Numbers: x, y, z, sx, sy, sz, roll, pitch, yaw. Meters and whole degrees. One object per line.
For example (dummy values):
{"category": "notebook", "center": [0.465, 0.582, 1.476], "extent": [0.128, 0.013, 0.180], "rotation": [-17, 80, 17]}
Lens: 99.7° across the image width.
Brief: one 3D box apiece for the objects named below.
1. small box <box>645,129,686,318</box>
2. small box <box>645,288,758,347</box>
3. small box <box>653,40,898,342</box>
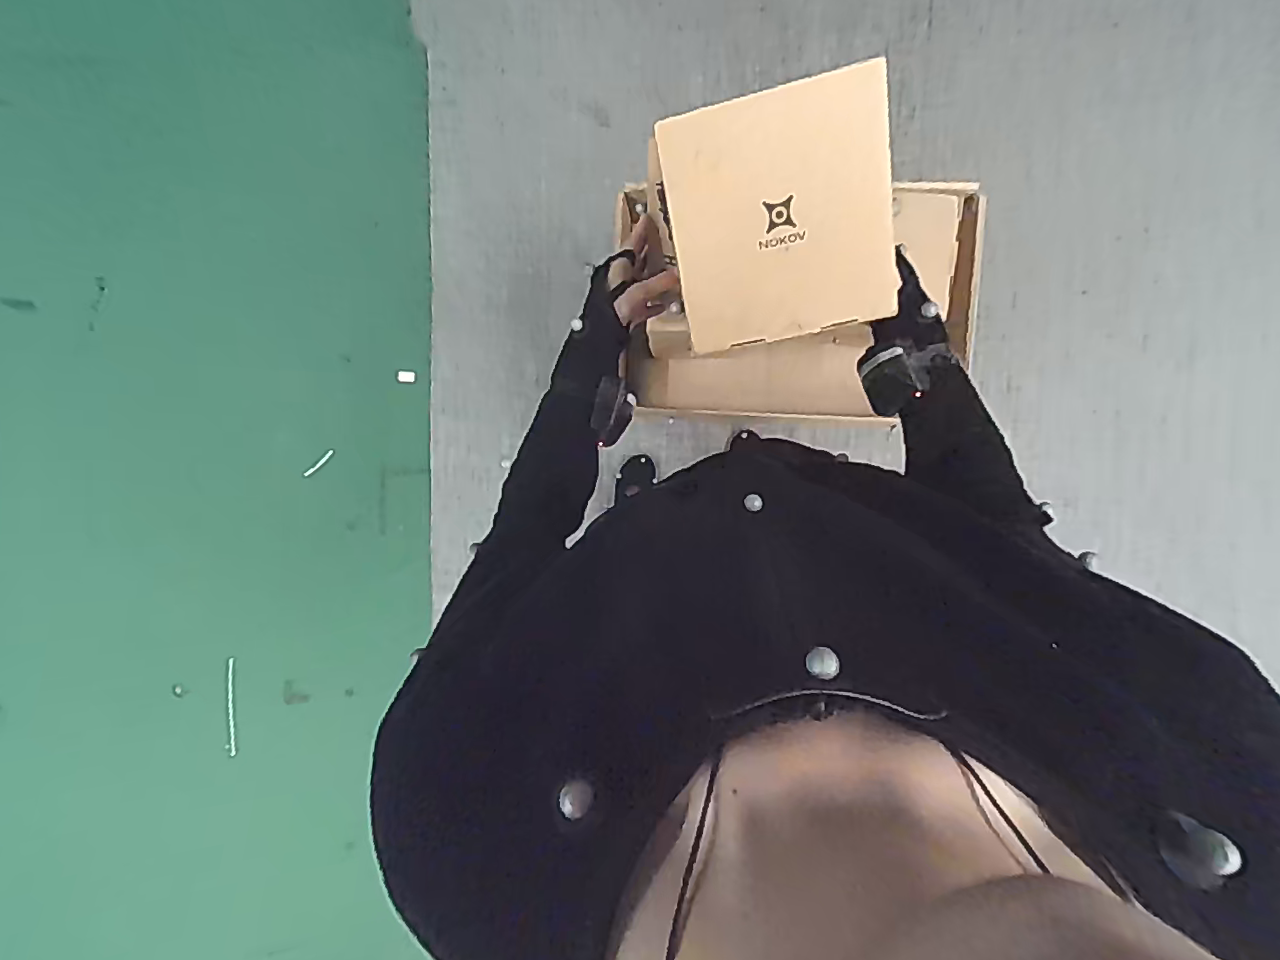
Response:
{"category": "small box", "center": [0.100, -0.295, 0.651], "extent": [0.179, 0.176, 0.168], "rotation": [1, 94, 5]}
{"category": "small box", "center": [0.100, -0.300, 0.816], "extent": [0.168, 0.176, 0.179], "rotation": [3, 94, 5]}
{"category": "small box", "center": [0.111, -0.232, 0.476], "extent": [0.168, 0.176, 0.179], "rotation": [-9, 110, 10]}
